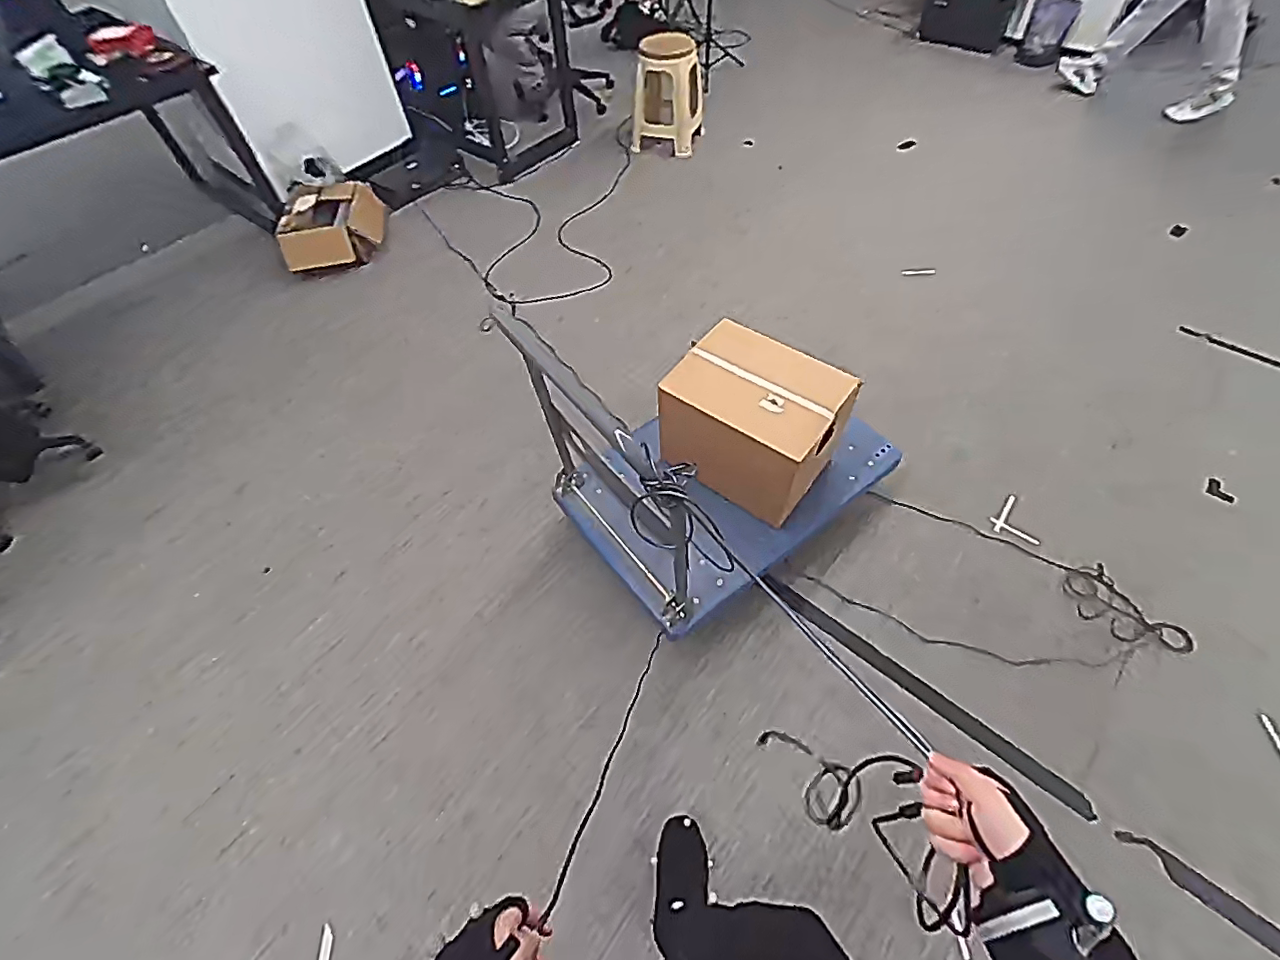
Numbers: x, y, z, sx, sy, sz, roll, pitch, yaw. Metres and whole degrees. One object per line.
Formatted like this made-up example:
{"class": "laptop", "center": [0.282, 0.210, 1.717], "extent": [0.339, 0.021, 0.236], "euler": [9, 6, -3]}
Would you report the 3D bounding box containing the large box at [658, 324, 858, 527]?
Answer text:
{"class": "large box", "center": [0.293, -0.147, 1.455], "extent": [0.408, 0.320, 0.320], "euler": [32, 64, 21]}
